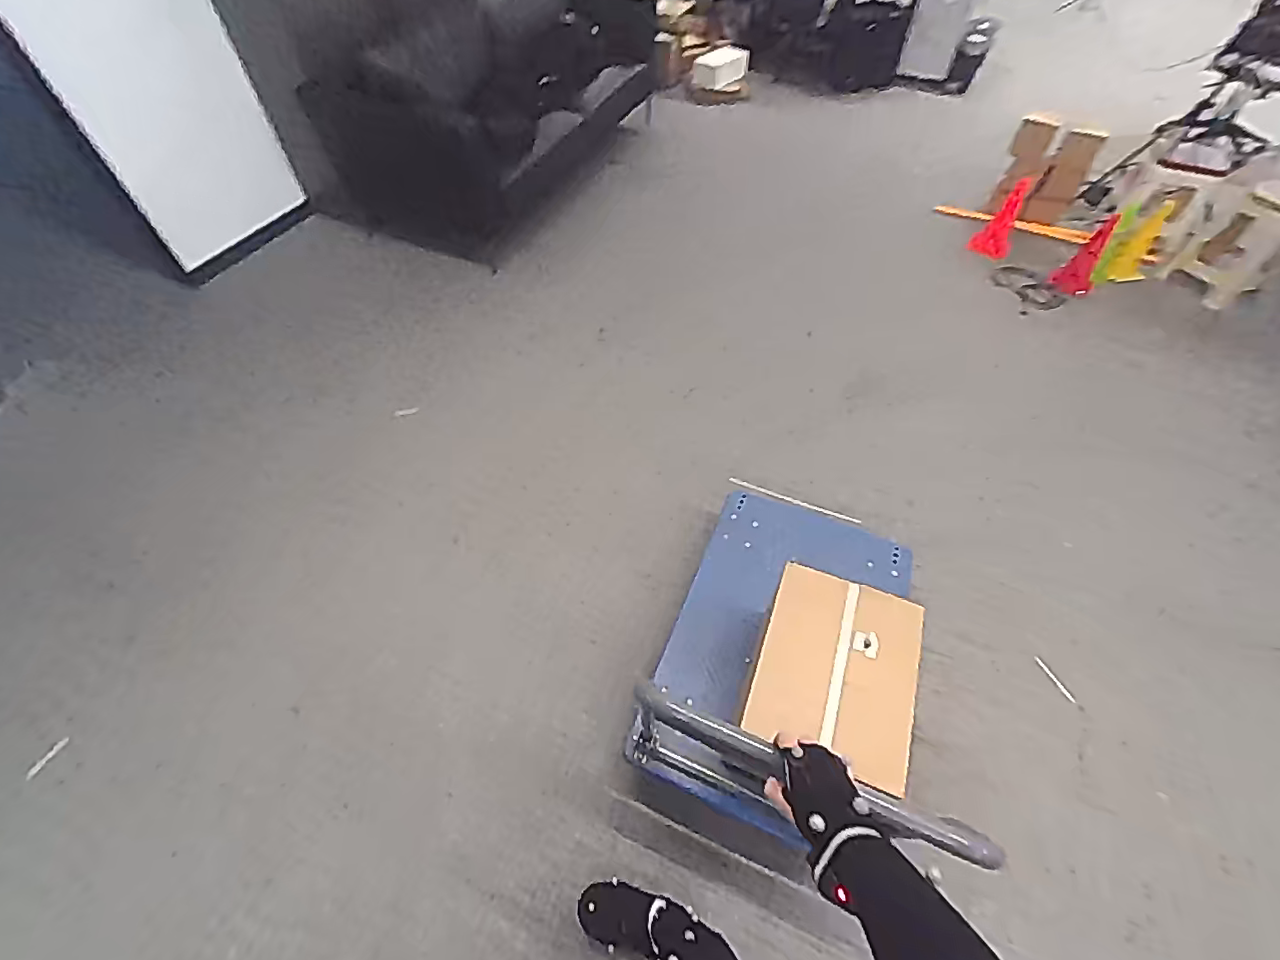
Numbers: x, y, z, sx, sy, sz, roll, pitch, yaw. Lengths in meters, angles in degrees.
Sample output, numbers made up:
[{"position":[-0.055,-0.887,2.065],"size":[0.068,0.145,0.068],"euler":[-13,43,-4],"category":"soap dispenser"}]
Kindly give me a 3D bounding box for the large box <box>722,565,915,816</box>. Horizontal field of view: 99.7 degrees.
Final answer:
[{"position":[0.400,0.479,1.241],"size":[0.320,0.320,0.408],"euler":[18,55,13],"category":"large box"}]
